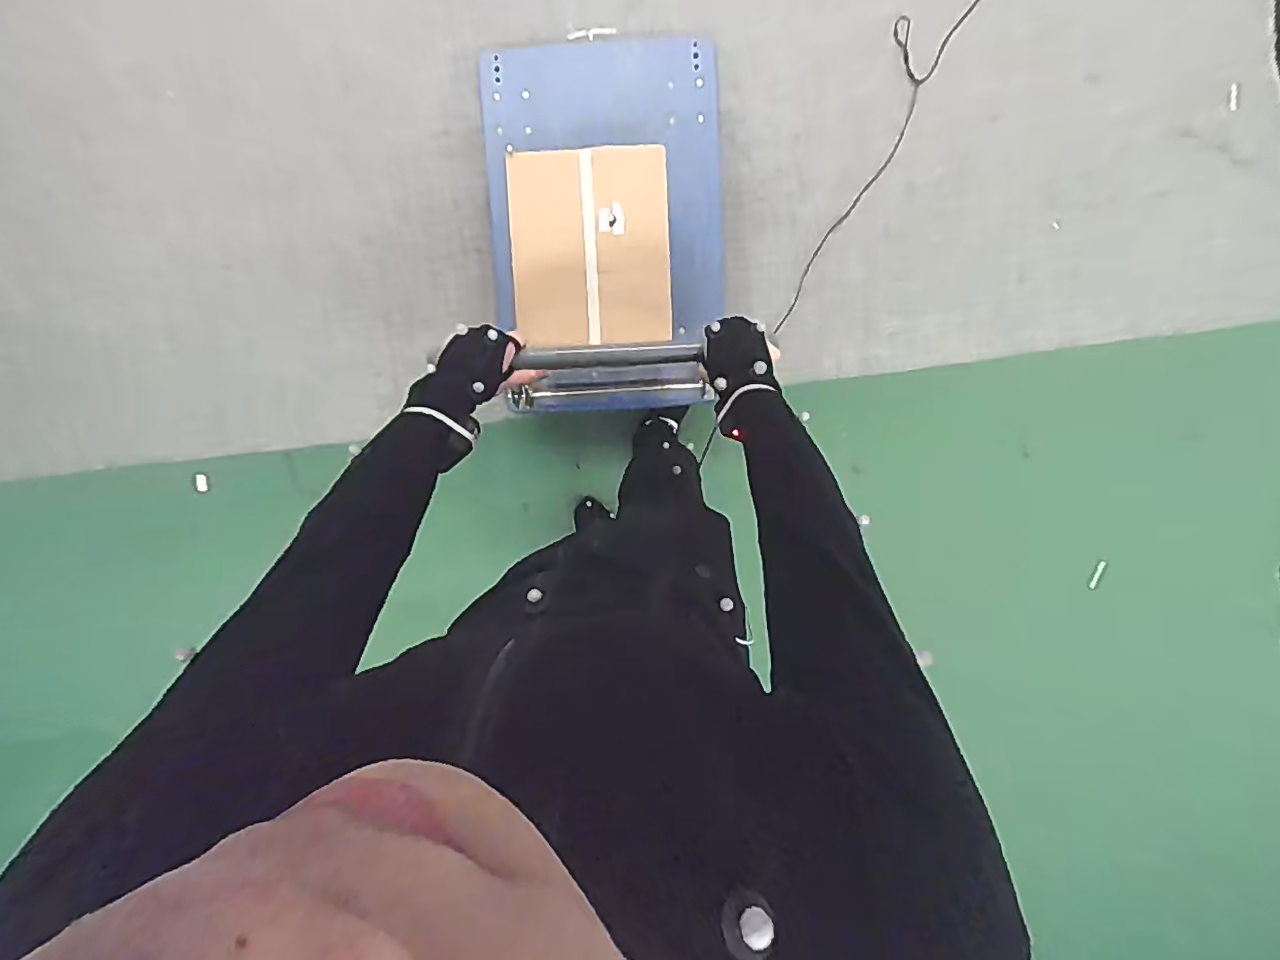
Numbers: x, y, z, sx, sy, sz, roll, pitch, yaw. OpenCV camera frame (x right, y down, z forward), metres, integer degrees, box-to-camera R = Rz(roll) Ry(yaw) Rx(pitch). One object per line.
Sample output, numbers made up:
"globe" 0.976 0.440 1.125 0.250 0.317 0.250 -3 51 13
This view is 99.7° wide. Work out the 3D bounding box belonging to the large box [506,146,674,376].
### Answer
"large box" -0.097 -0.459 1.219 0.320 0.320 0.408 -3 96 0
